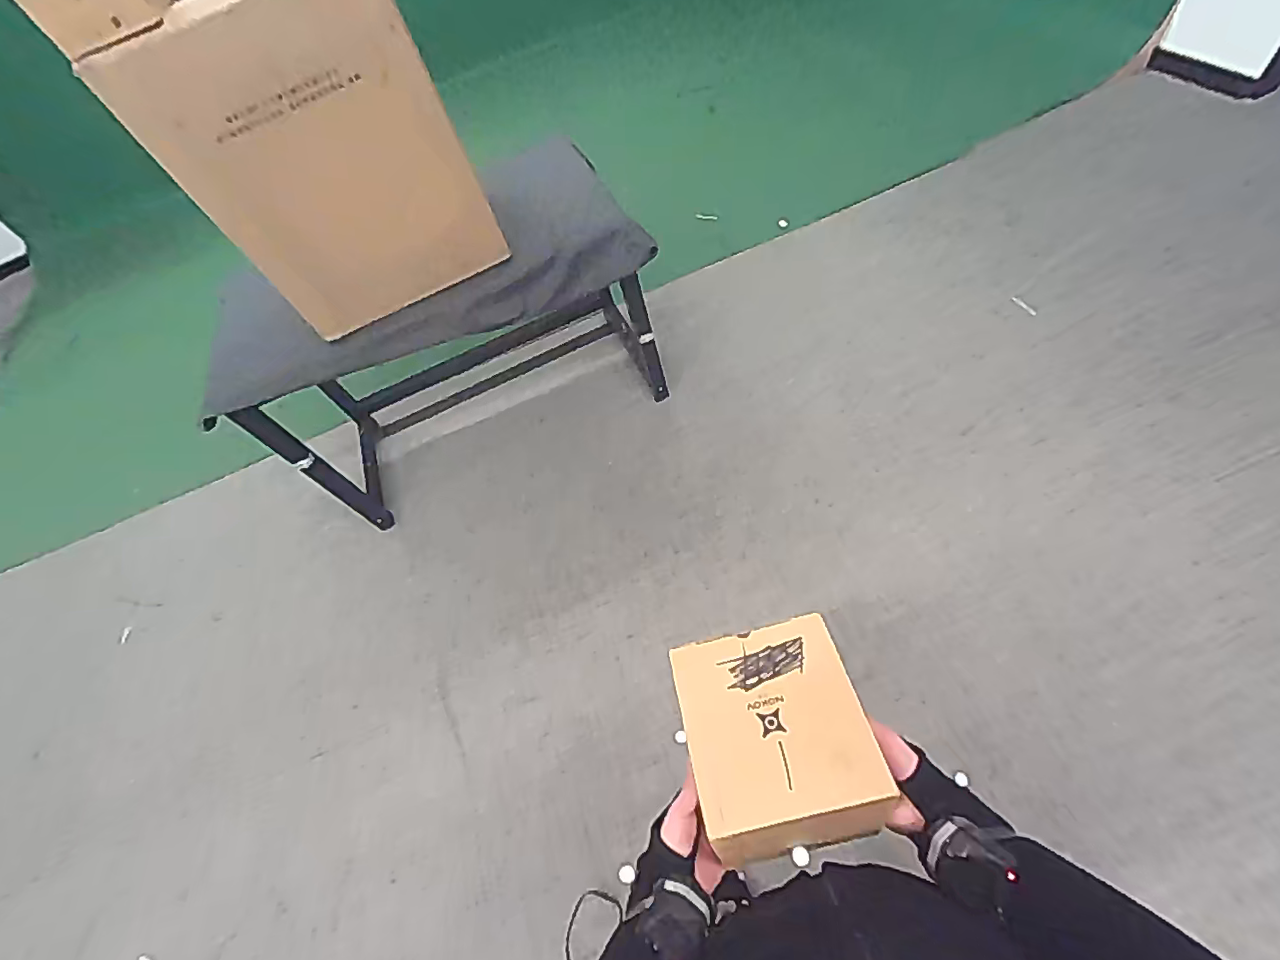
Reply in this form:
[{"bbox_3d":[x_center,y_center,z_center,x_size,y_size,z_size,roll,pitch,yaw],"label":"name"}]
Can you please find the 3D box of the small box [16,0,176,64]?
[{"bbox_3d":[-0.925,-0.833,0.899,0.168,0.176,0.179,-26,56,-2],"label":"small box"}]
